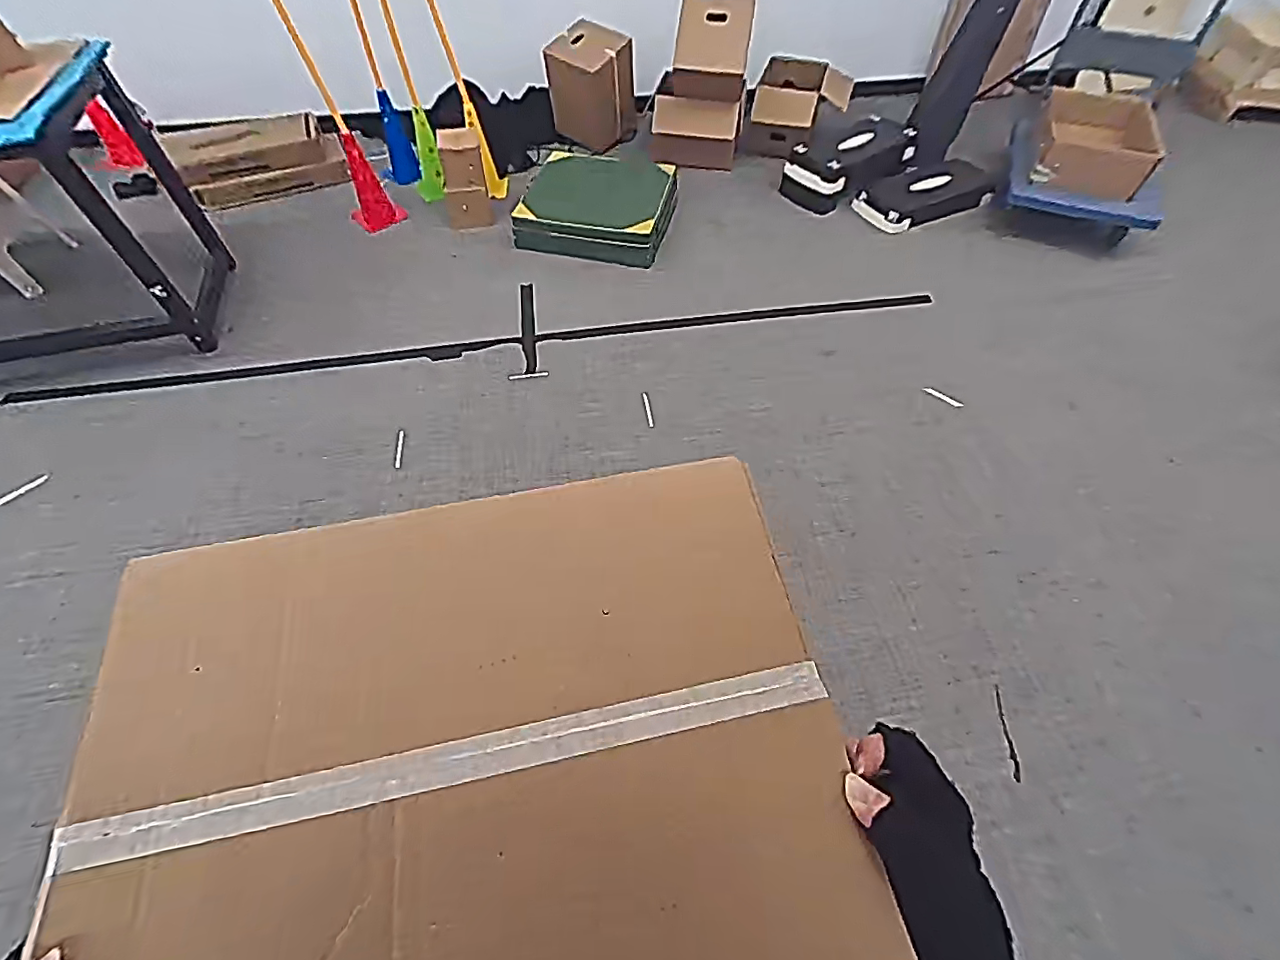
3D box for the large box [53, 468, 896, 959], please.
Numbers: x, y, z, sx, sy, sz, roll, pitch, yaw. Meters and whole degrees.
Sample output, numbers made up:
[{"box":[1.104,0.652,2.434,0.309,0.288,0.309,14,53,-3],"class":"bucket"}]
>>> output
[{"box":[-0.096,0.227,0.436,0.408,0.320,0.320,-10,61,-6],"class":"large box"}]
